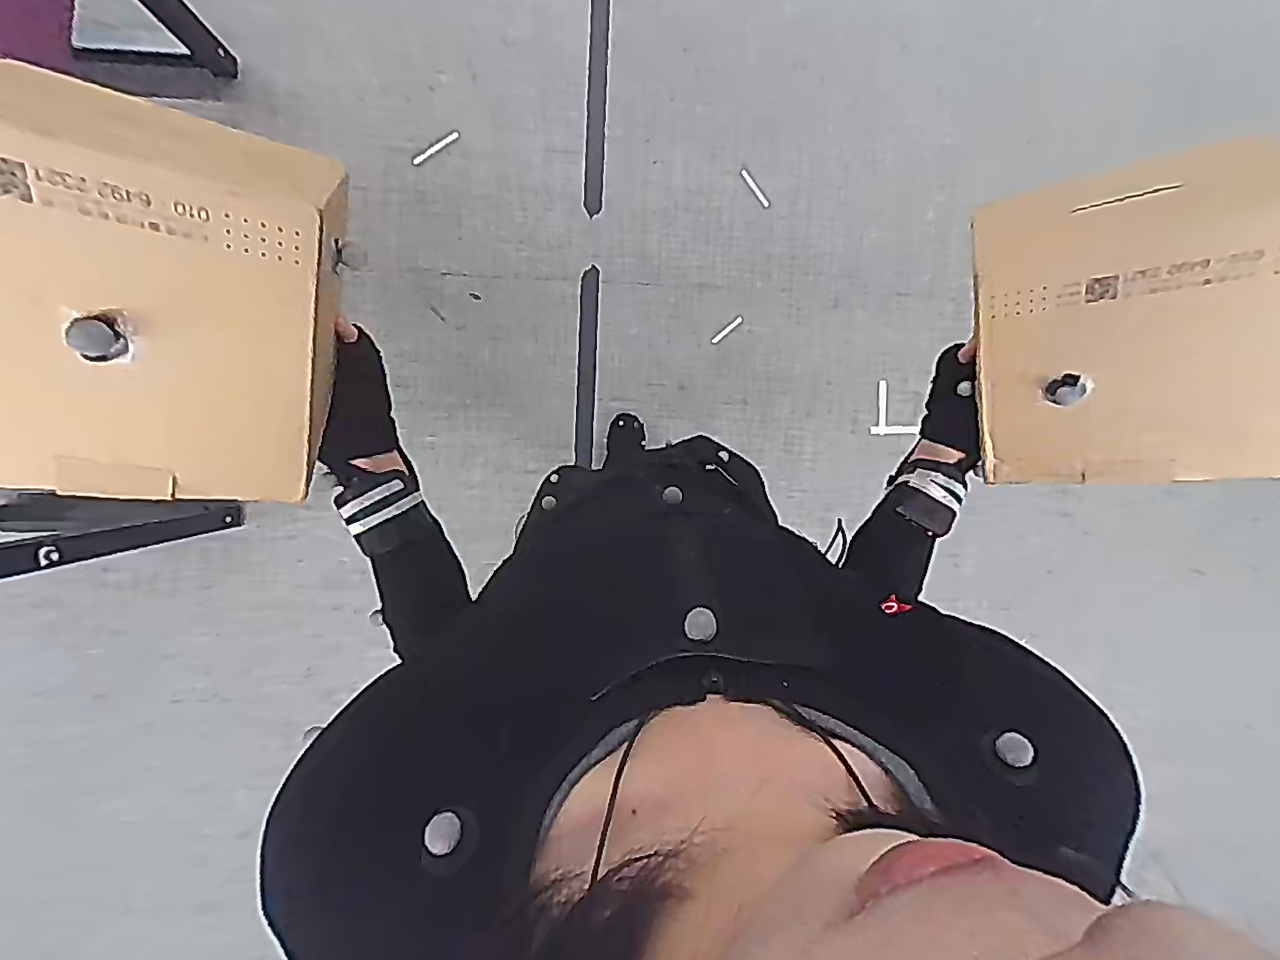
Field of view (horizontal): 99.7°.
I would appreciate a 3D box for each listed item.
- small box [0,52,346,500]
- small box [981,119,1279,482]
[{"bbox_3d":[-0.263,-0.109,0.294,0.168,0.179,0.176,6,120,-27],"label":"small box"},{"bbox_3d":[0.337,-0.119,0.372,0.168,0.179,0.176,-2,126,31],"label":"small box"}]
